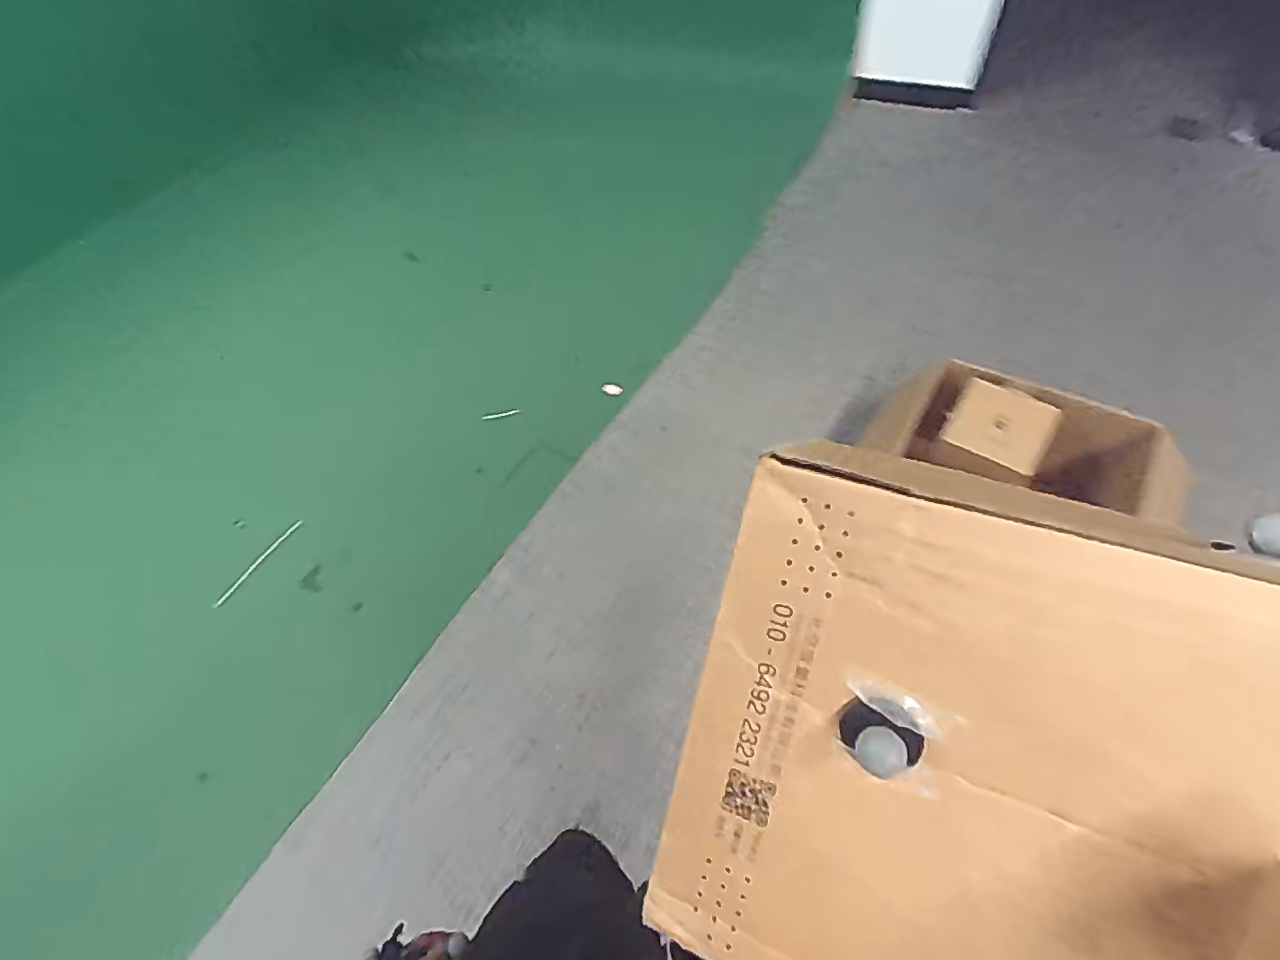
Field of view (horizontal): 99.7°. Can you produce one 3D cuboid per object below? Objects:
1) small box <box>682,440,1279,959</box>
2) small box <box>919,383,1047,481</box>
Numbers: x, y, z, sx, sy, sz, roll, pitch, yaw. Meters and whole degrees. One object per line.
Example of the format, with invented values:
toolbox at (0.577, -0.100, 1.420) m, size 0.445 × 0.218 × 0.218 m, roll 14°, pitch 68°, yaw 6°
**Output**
small box at (0.135, 0.083, 0.223) m, size 0.176 × 0.179 × 0.168 m, roll 18°, pitch 101°, yaw 20°
small box at (0.709, -0.067, 1.150) m, size 0.168 × 0.176 × 0.179 m, roll 30°, pitch 71°, yaw 22°
